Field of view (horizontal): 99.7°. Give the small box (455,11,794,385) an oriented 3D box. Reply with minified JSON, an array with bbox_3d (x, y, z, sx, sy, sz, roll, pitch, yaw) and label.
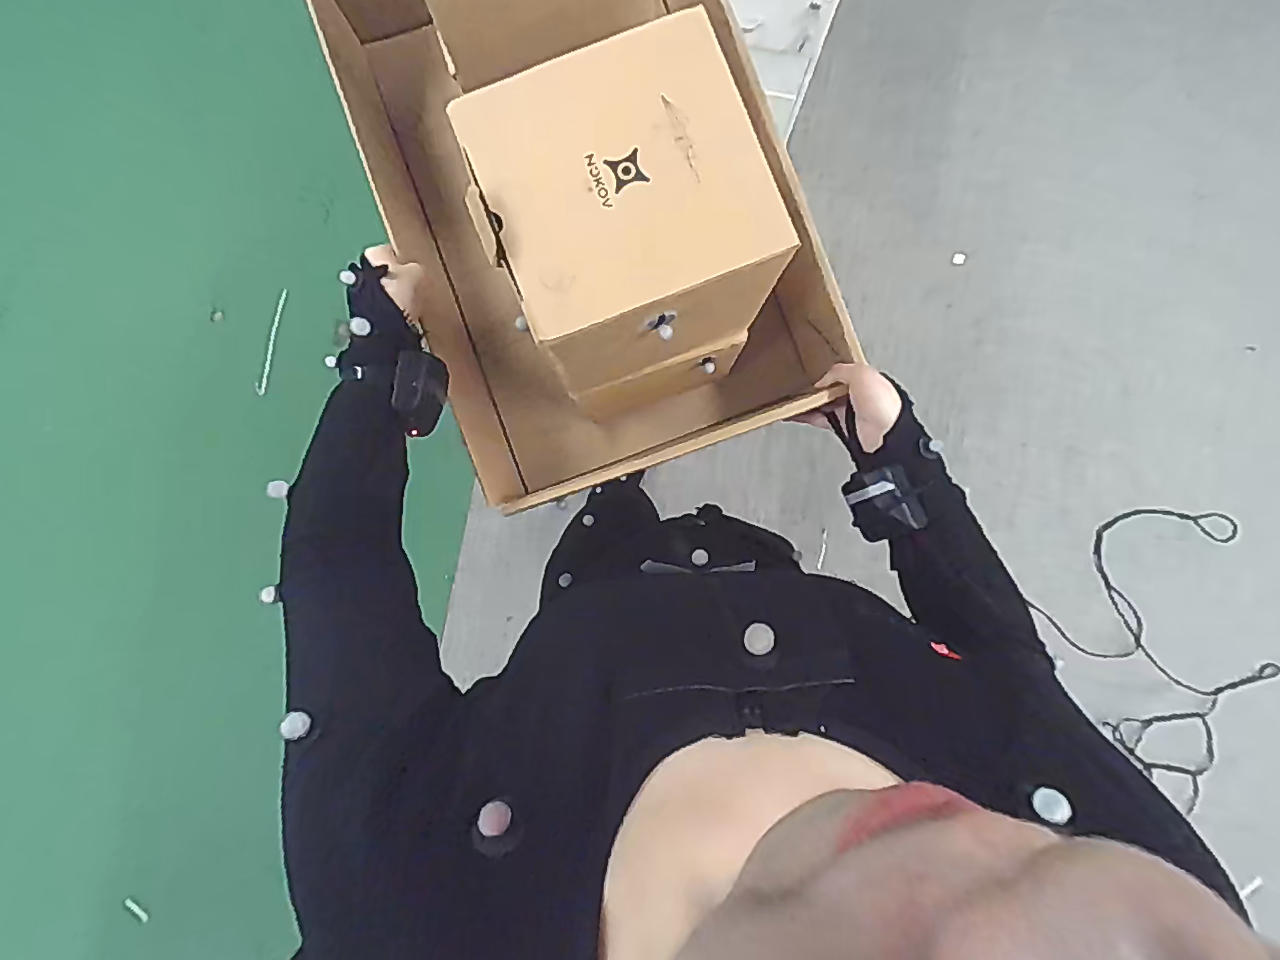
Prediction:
[{"bbox_3d":[-0.010,-0.190,0.420,0.179,0.176,0.168,-21,88,-1],"label":"small box"}]
